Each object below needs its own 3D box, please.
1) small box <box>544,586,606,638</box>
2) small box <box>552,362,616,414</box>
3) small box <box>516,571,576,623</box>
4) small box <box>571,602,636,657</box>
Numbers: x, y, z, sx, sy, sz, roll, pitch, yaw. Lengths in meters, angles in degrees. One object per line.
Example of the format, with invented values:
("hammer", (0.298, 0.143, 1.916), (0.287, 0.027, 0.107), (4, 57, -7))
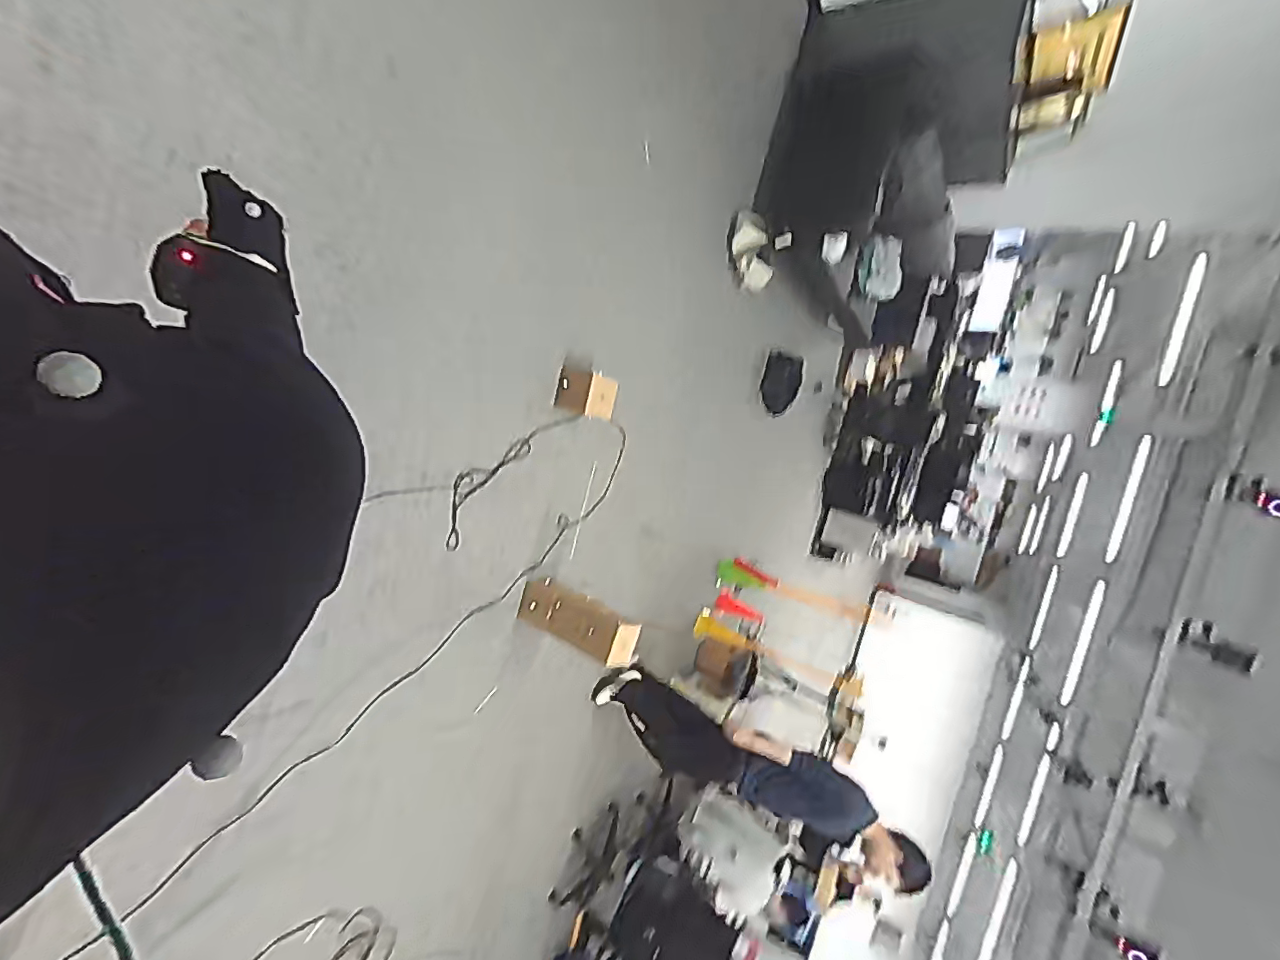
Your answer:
("small box", (-0.277, 0.553, 2.277), (0.179, 0.176, 0.168), (14, 92, -59))
("small box", (-0.232, -0.380, 2.218), (0.179, 0.176, 0.168), (6, 98, -57))
("small box", (-0.414, 0.506, 2.360), (0.179, 0.176, 0.168), (9, 100, -57))
("small box", (-0.148, 0.602, 2.190), (0.179, 0.176, 0.168), (24, 84, -58))
